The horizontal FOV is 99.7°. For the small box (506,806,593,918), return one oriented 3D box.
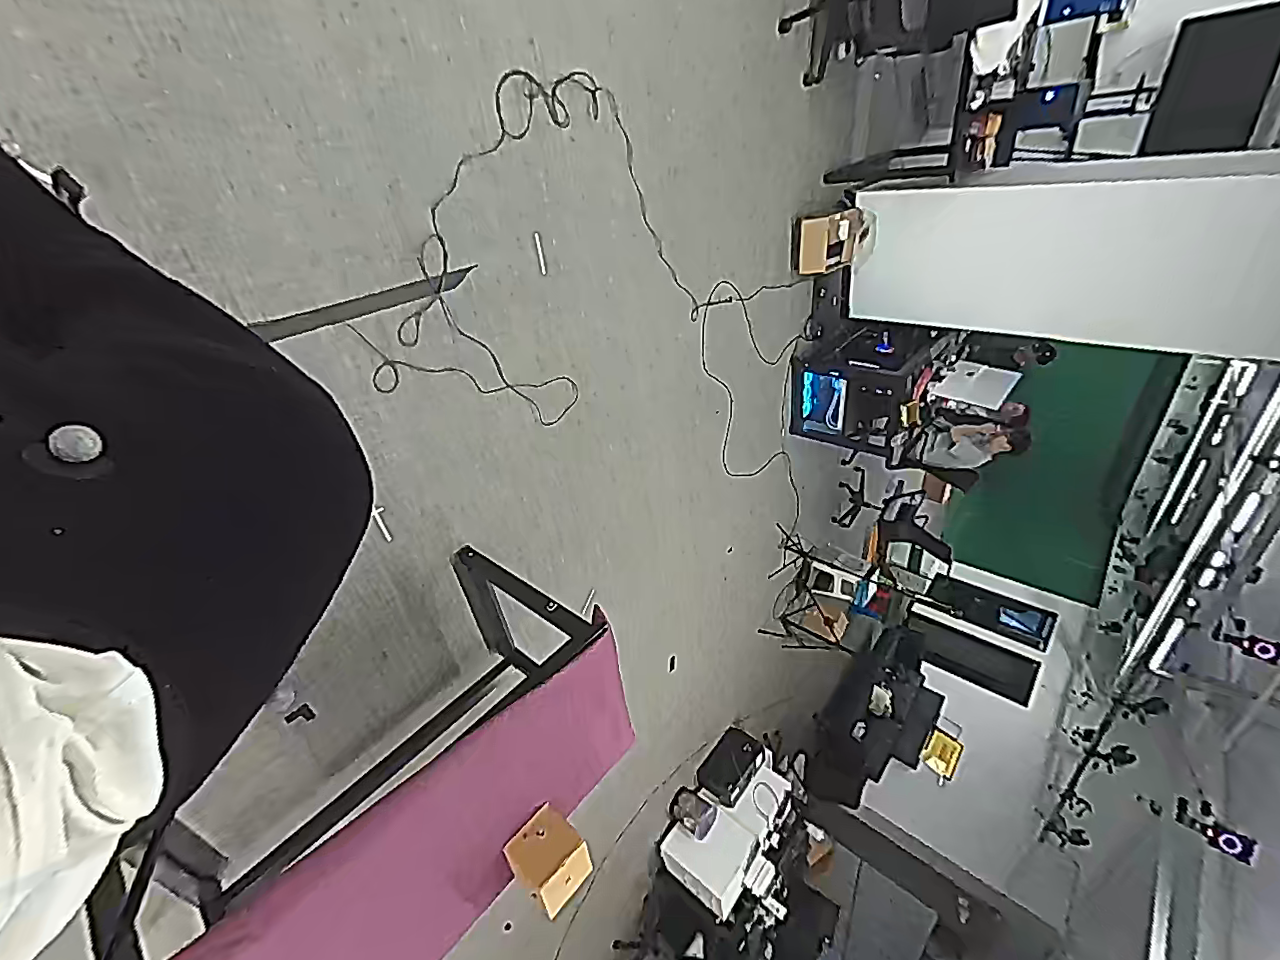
[{"bbox_3d":[-0.260,1.091,1.559,0.168,0.176,0.179,-34,130,-37],"label":"small box"}]
